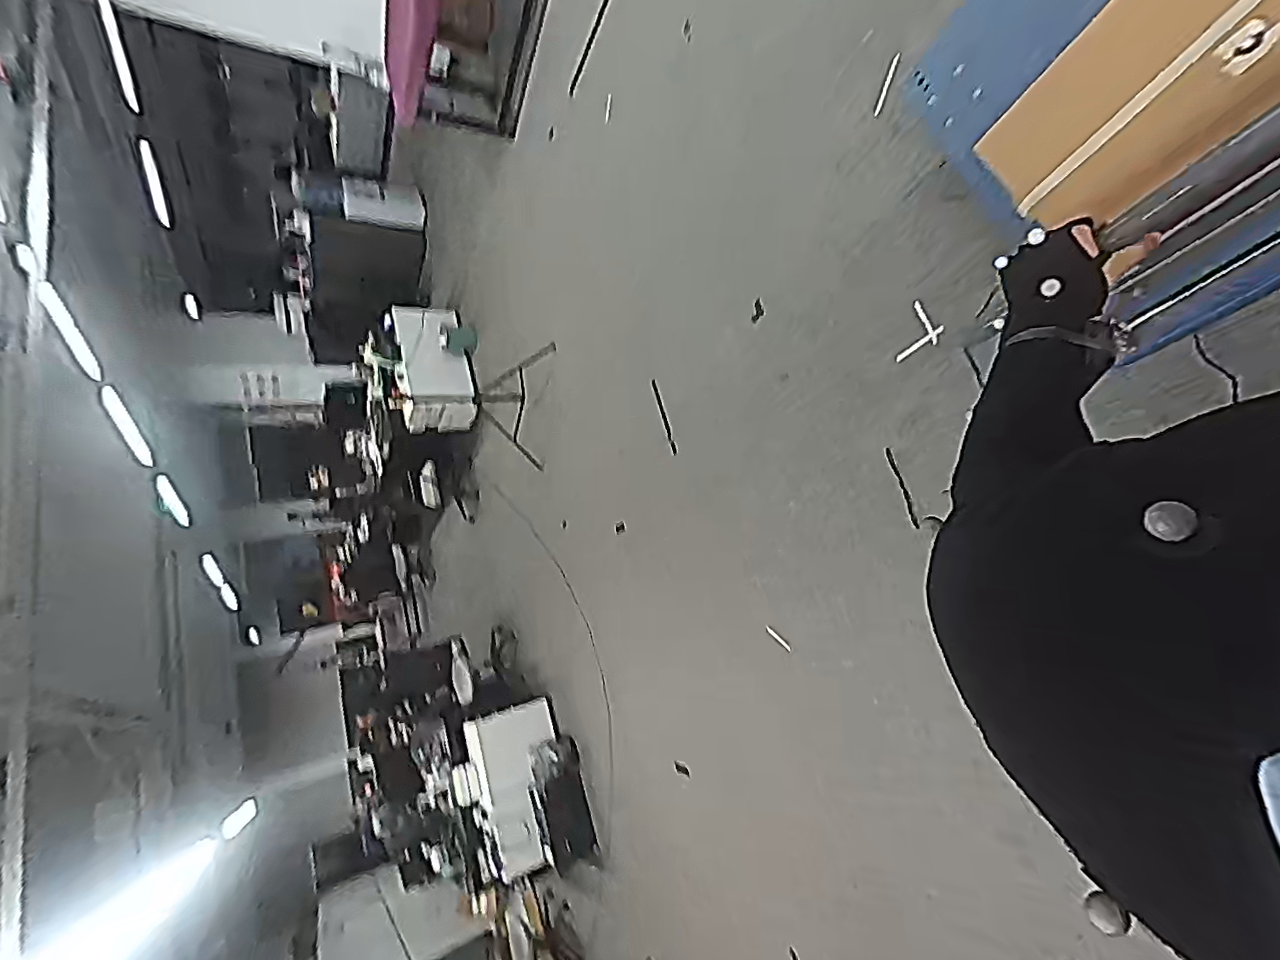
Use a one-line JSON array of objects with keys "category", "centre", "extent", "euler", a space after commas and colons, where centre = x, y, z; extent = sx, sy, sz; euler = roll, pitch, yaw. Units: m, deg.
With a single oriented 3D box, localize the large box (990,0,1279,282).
[{"category": "large box", "centre": [0.872, -0.578, 0.829], "extent": [0.408, 0.320, 0.320], "euler": [-48, 57, 48]}]
